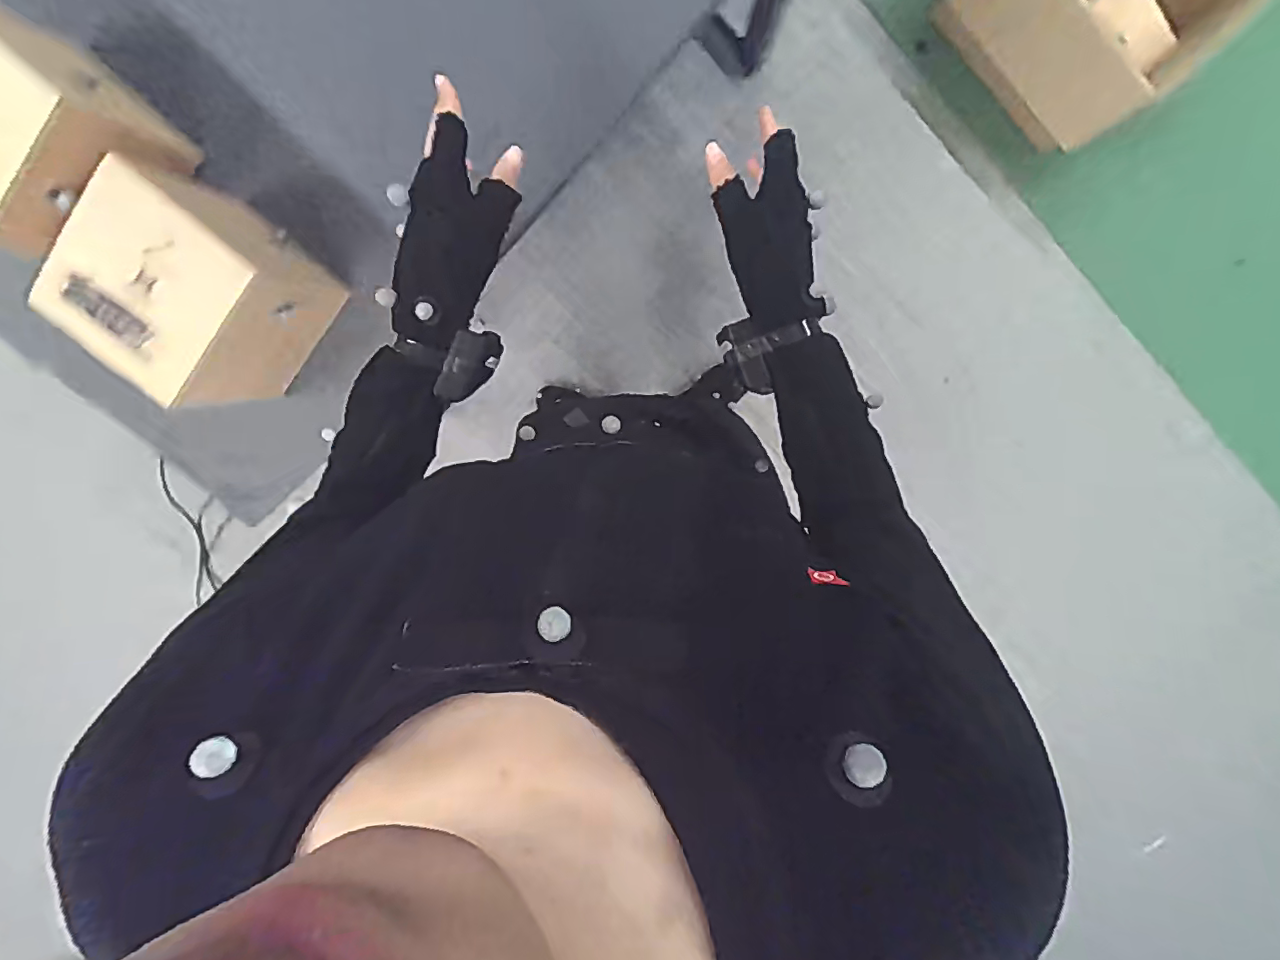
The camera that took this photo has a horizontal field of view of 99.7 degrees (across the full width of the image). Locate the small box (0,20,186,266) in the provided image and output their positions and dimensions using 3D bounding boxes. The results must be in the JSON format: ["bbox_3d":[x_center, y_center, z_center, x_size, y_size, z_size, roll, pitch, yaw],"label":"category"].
[{"bbox_3d":[-0.644,-0.355,0.571,0.168,0.176,0.179,41,103,-9],"label":"small box"}]
